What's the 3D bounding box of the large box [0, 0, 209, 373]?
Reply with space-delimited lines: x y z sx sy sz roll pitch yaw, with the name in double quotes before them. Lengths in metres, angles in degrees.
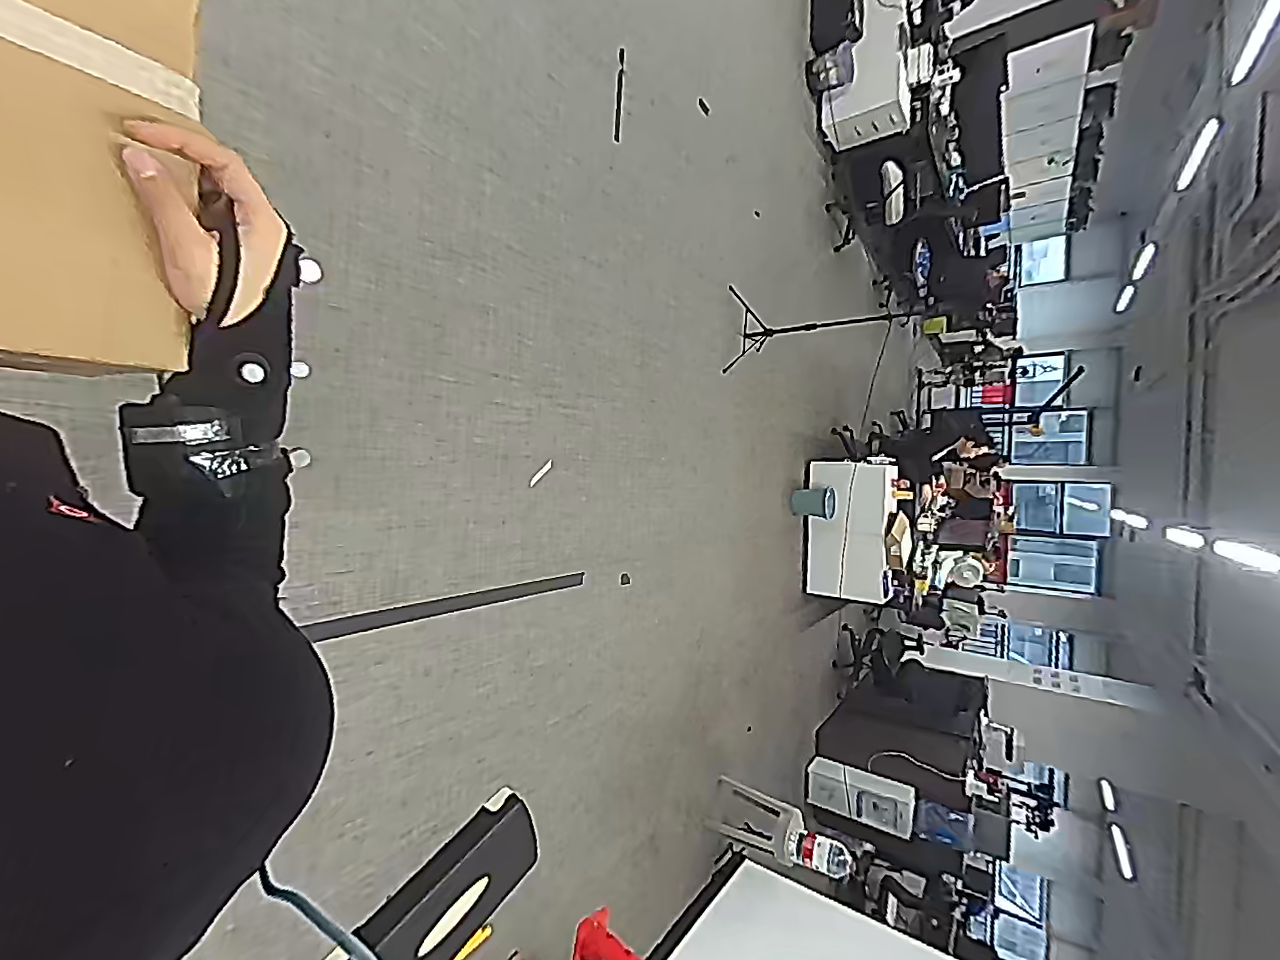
"large box" -0.506 -0.234 0.262 0.408 0.320 0.320 -1 98 -53
